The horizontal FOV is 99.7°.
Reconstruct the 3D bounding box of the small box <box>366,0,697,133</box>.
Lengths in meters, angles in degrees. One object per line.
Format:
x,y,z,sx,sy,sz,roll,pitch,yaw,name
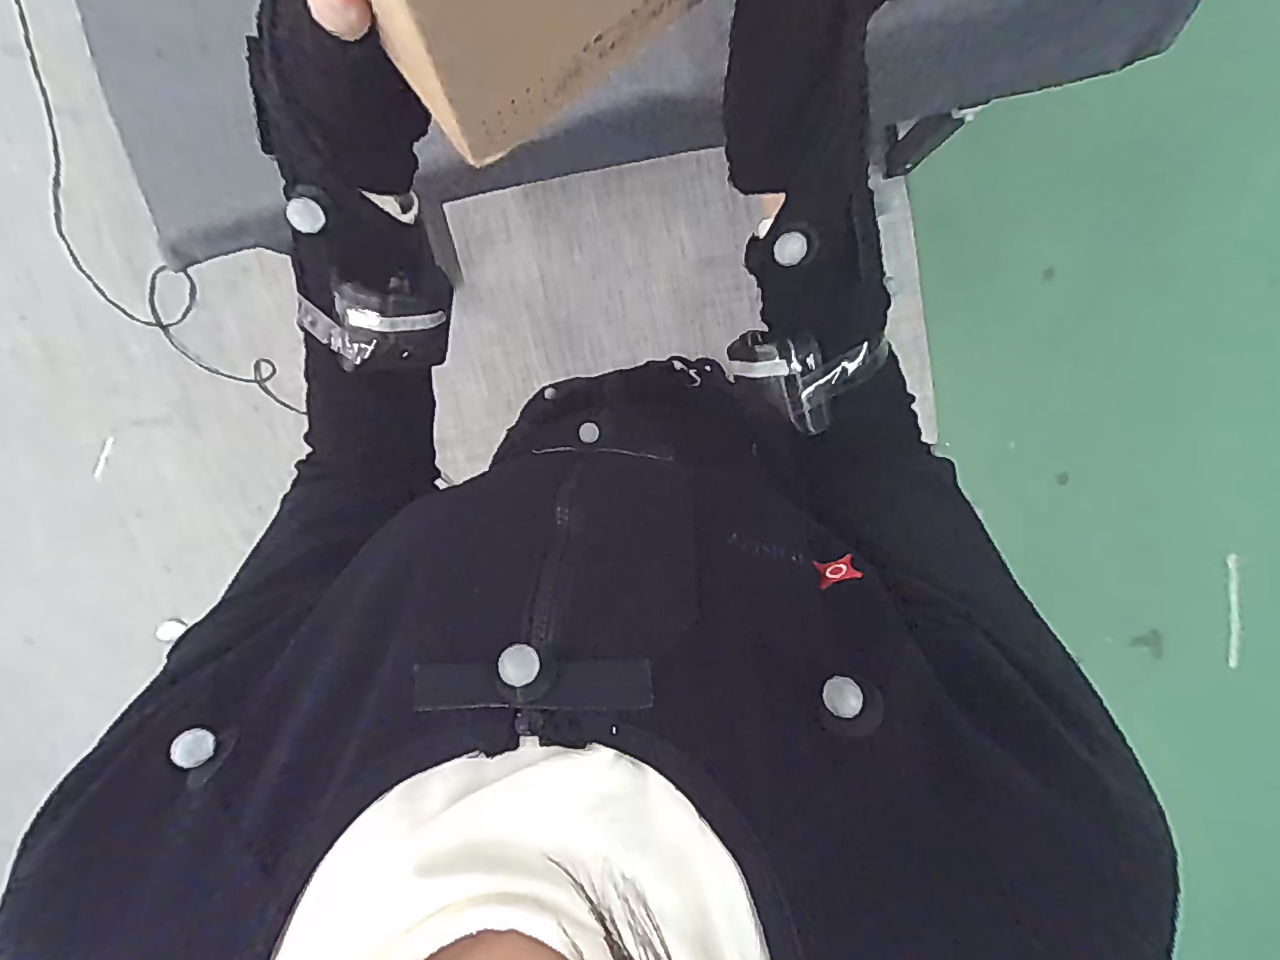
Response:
-0.044,-0.239,0.128,0.168,0.176,0.179,-38,99,-1,small box
